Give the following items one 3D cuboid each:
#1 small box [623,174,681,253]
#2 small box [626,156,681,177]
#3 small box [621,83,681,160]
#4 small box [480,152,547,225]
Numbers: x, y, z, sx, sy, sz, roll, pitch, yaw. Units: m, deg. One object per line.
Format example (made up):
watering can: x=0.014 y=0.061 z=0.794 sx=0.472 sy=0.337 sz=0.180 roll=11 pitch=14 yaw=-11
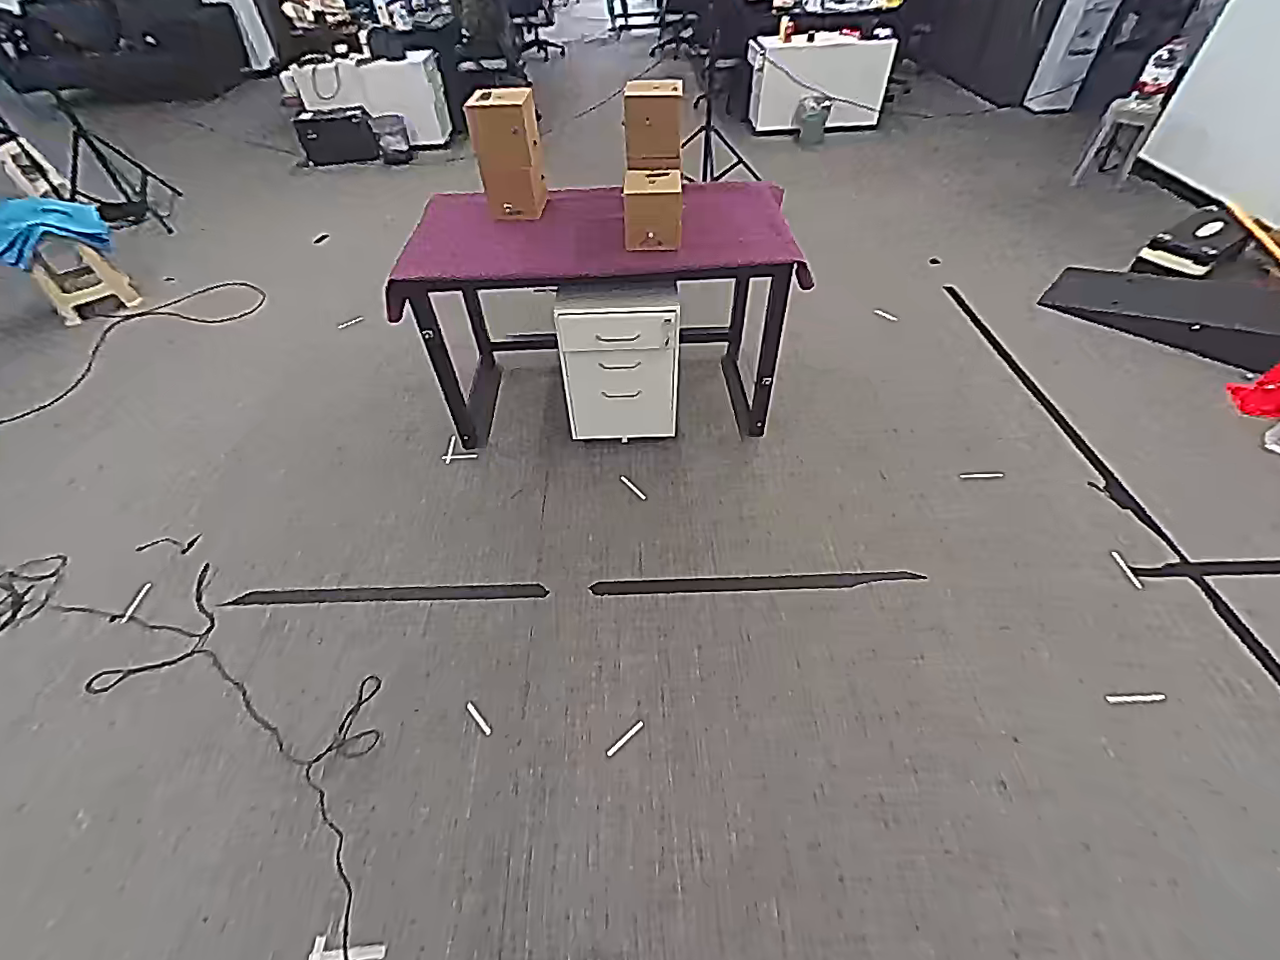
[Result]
small box: x=0.038 y=-0.805 z=1.635 sx=0.168 sy=0.176 sz=0.179 roll=-1 pitch=47 yaw=2
small box: x=0.047 y=-1.016 z=1.826 sx=0.179 sy=0.176 sz=0.168 roll=0 pitch=48 yaw=3
small box: x=0.040 y=-1.126 z=1.704 sx=0.179 sy=0.176 sz=0.168 roll=0 pitch=49 yaw=4
small box: x=-0.417 y=-0.980 z=1.815 sx=0.168 sy=0.176 sz=0.179 roll=1 pitch=50 yaw=5
